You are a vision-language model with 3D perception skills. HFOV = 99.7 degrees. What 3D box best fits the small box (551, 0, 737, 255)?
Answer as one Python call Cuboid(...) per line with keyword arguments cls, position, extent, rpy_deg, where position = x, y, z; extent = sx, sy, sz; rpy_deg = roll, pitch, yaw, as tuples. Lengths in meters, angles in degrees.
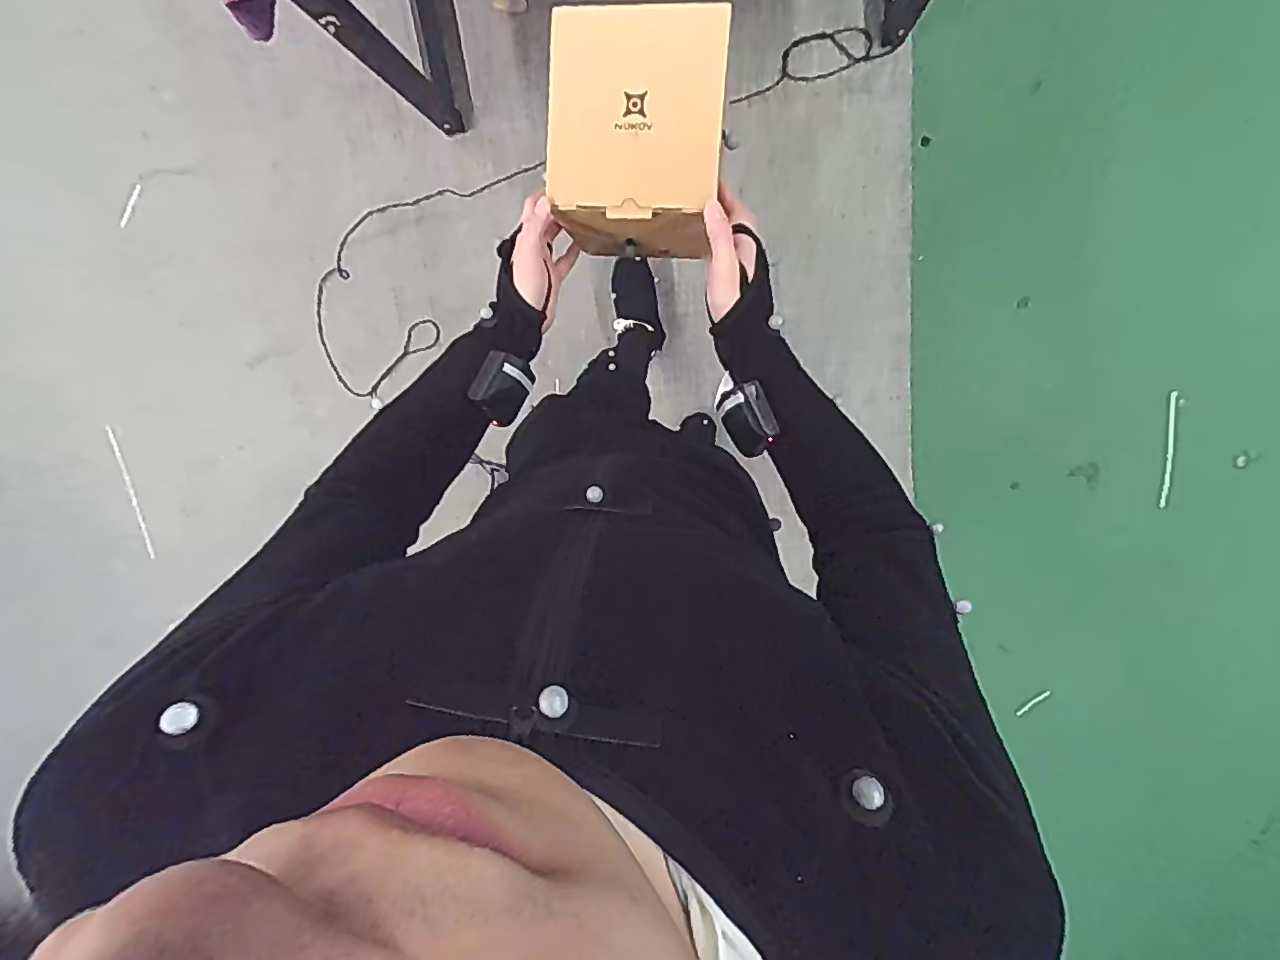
Cuboid(cls="small box", position=(0.009, -0.354, 0.574), extent=(0.168, 0.176, 0.179), rpy_deg=(4, 100, 6))
